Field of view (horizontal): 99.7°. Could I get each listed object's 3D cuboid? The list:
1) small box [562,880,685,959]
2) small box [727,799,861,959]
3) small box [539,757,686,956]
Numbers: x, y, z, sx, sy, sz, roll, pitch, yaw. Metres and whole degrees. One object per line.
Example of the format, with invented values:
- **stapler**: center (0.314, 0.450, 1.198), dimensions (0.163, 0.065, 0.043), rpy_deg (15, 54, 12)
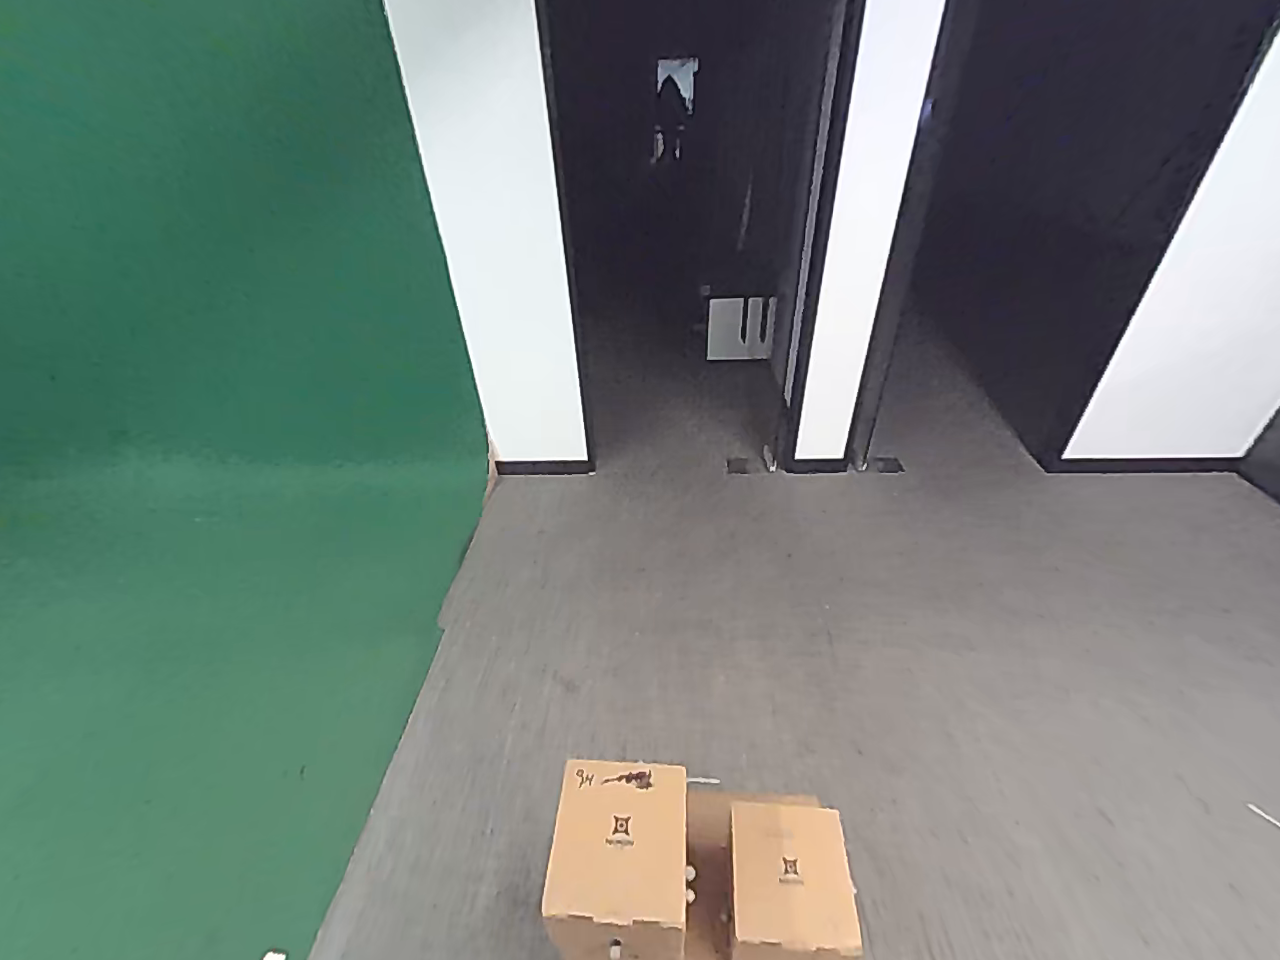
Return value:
- **small box**: center (-0.017, 0.625, 0.821), dimensions (0.168, 0.176, 0.179), rpy_deg (1, 38, 3)
- **small box**: center (0.219, 0.616, 0.813), dimensions (0.168, 0.176, 0.179), rpy_deg (1, 36, 7)
- **small box**: center (-0.023, 0.498, 0.717), dimensions (0.168, 0.176, 0.179), rpy_deg (2, 39, 5)
